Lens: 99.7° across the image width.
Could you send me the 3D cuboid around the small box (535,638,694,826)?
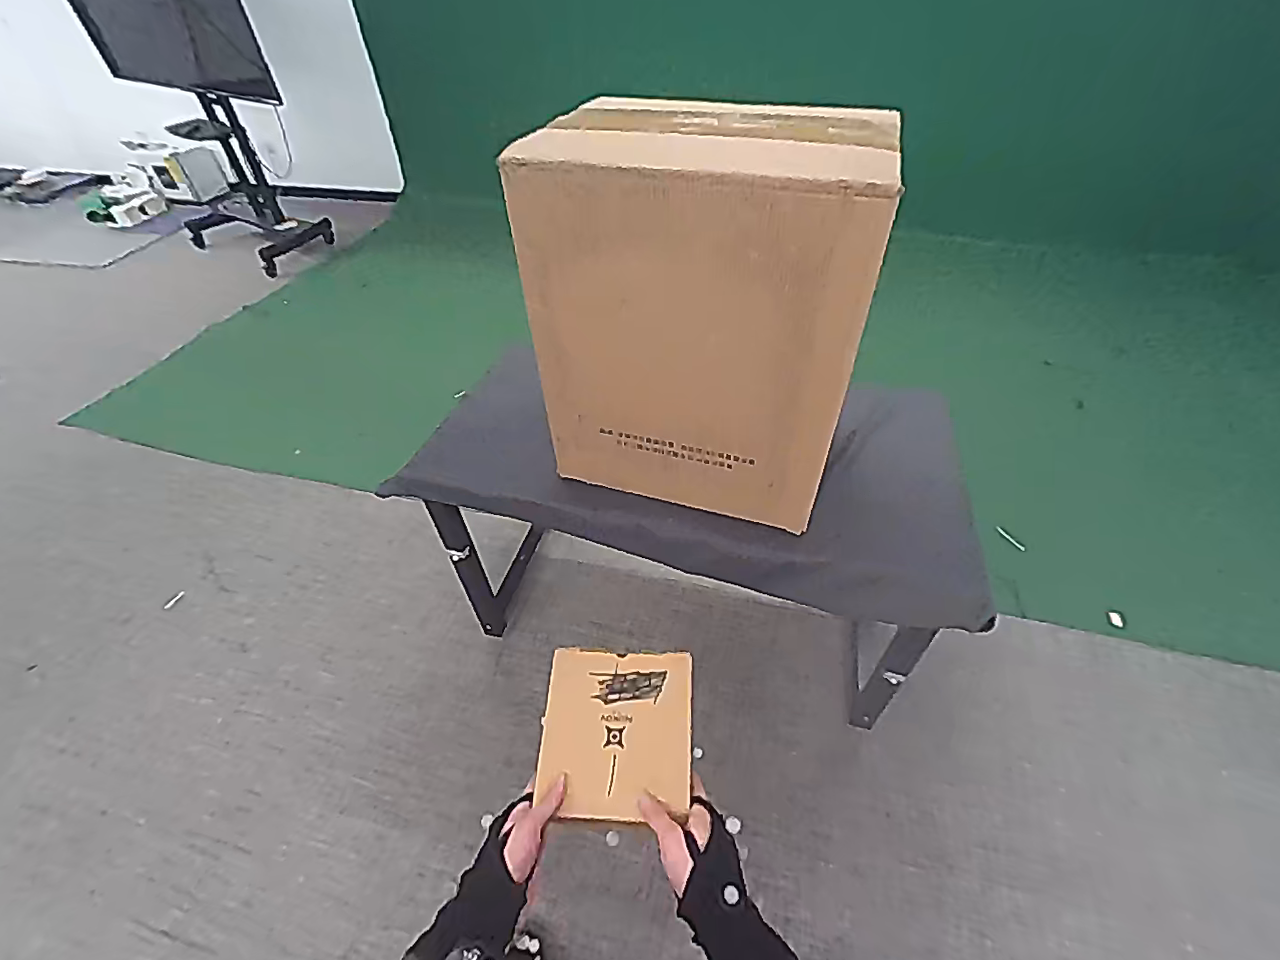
[{"bbox_3d":[-0.019,0.312,0.666,0.168,0.176,0.179,1,54,5],"label":"small box"}]
